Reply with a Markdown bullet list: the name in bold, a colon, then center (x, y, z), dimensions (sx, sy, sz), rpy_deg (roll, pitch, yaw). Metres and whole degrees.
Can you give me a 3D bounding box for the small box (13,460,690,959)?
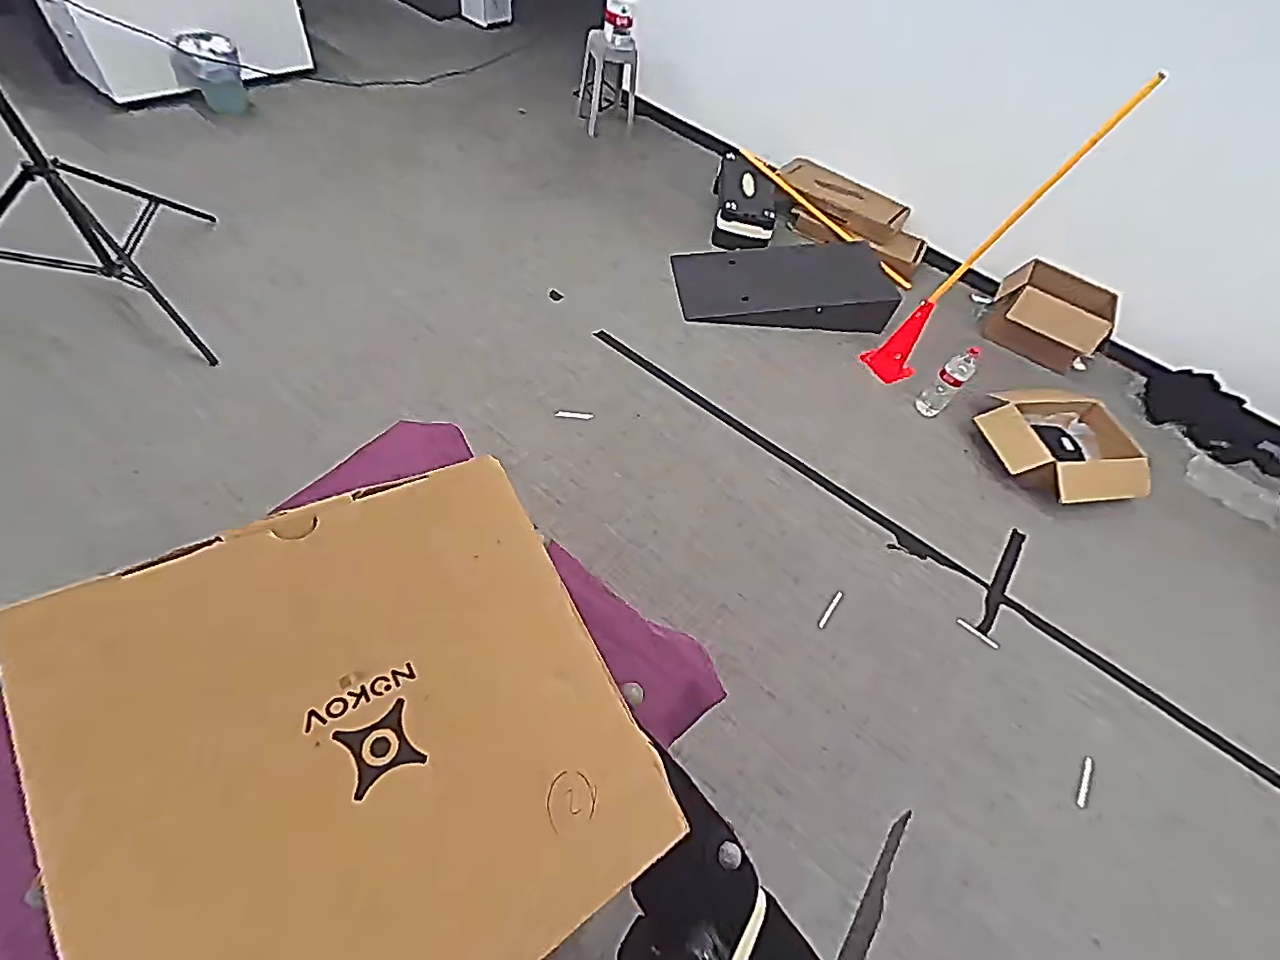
- **small box**: center (-0.111, 0.123, 0.250), dimensions (0.168, 0.176, 0.179), rpy_deg (-22, 72, -29)
